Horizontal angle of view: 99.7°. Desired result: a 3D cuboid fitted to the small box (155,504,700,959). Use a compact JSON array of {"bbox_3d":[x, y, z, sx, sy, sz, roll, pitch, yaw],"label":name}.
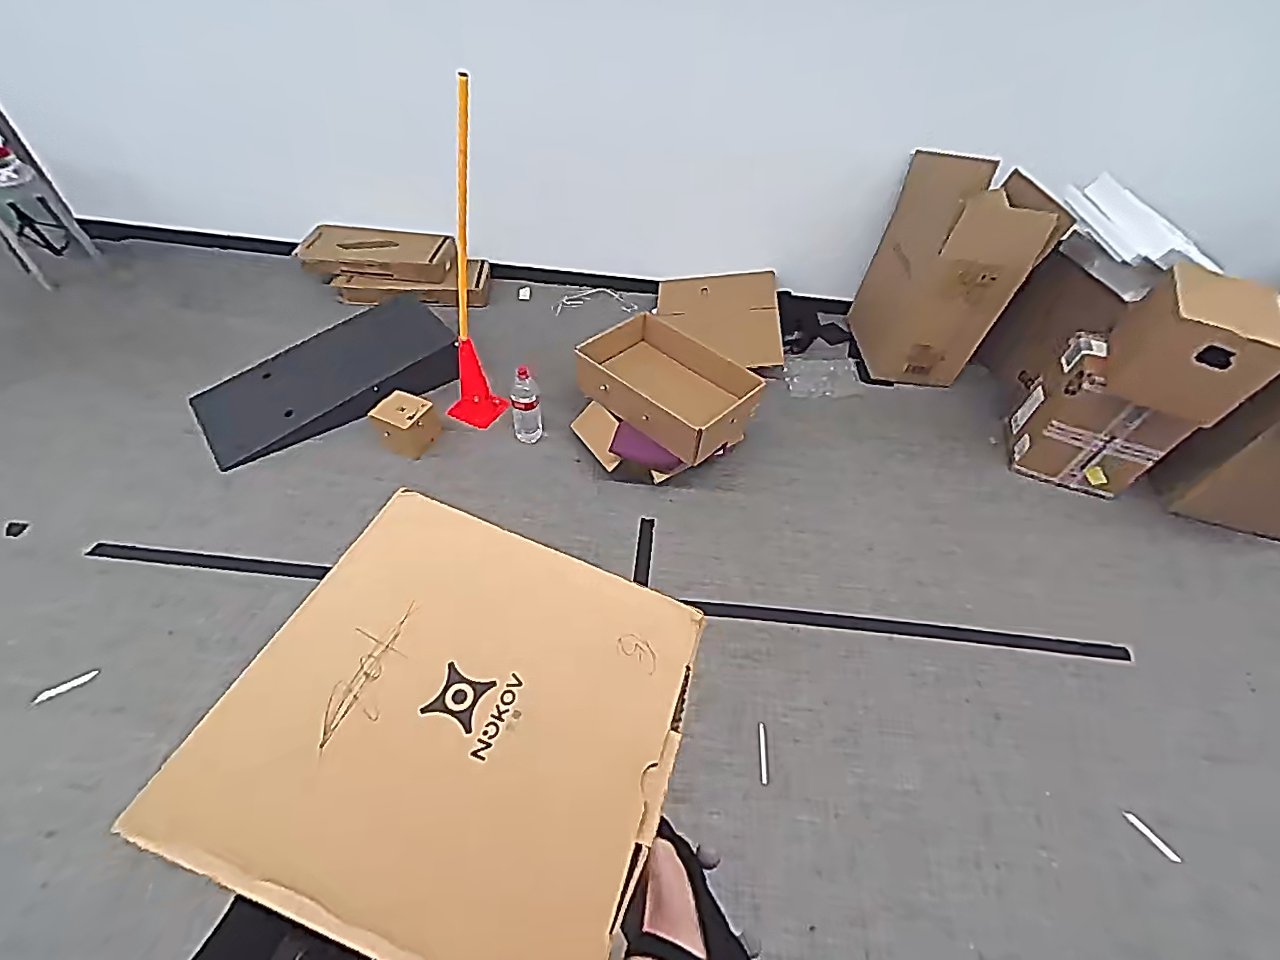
[{"bbox_3d":[-0.087,0.148,0.303,0.179,0.176,0.168,20,50,5],"label":"small box"}]
